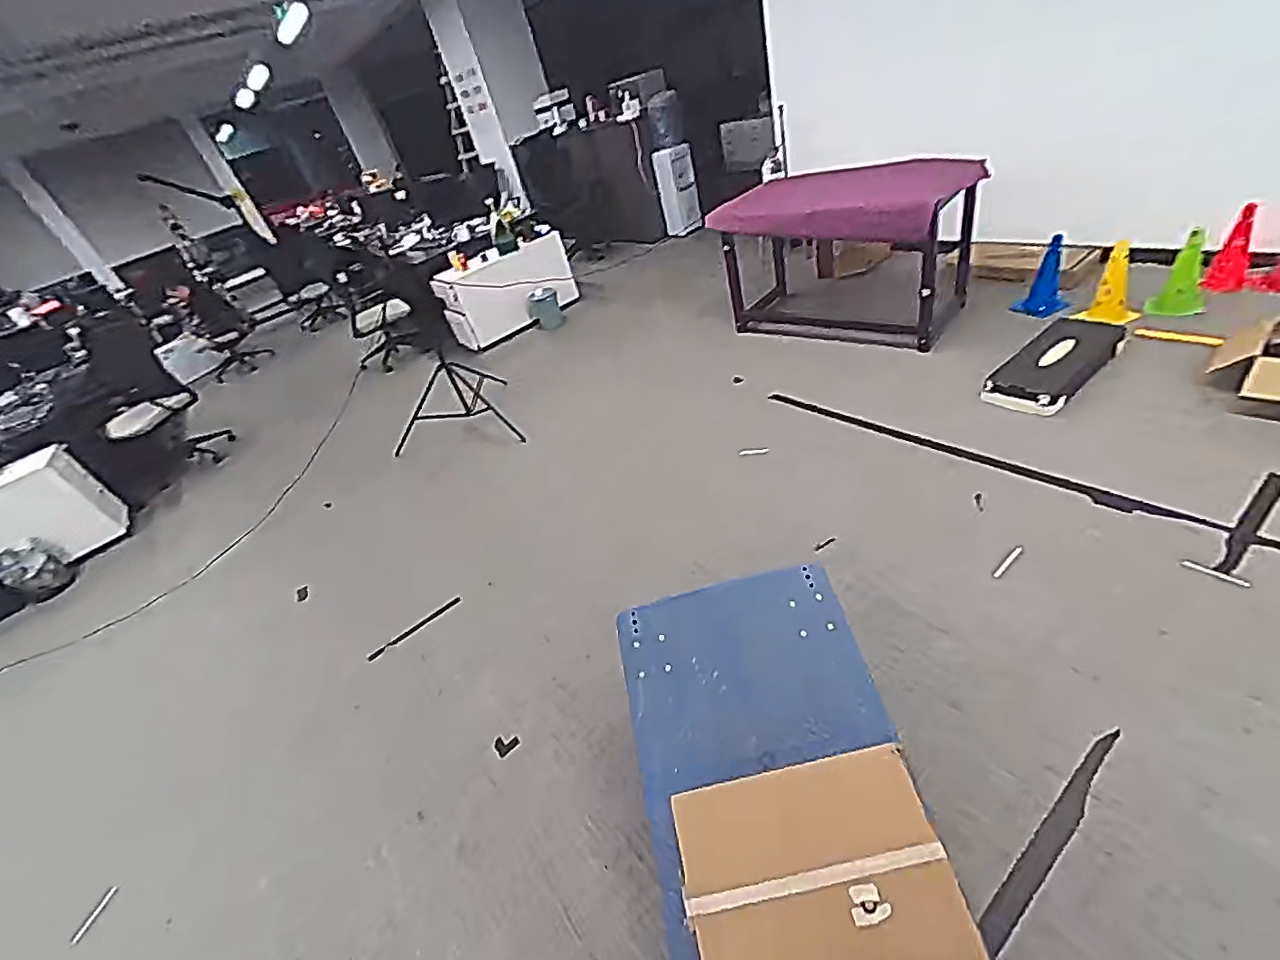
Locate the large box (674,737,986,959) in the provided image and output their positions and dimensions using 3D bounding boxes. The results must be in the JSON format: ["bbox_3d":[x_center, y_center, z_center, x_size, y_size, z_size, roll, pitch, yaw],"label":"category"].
[{"bbox_3d":[0.306,0.711,0.987,0.408,0.320,0.320,-16,54,2],"label":"large box"}]
